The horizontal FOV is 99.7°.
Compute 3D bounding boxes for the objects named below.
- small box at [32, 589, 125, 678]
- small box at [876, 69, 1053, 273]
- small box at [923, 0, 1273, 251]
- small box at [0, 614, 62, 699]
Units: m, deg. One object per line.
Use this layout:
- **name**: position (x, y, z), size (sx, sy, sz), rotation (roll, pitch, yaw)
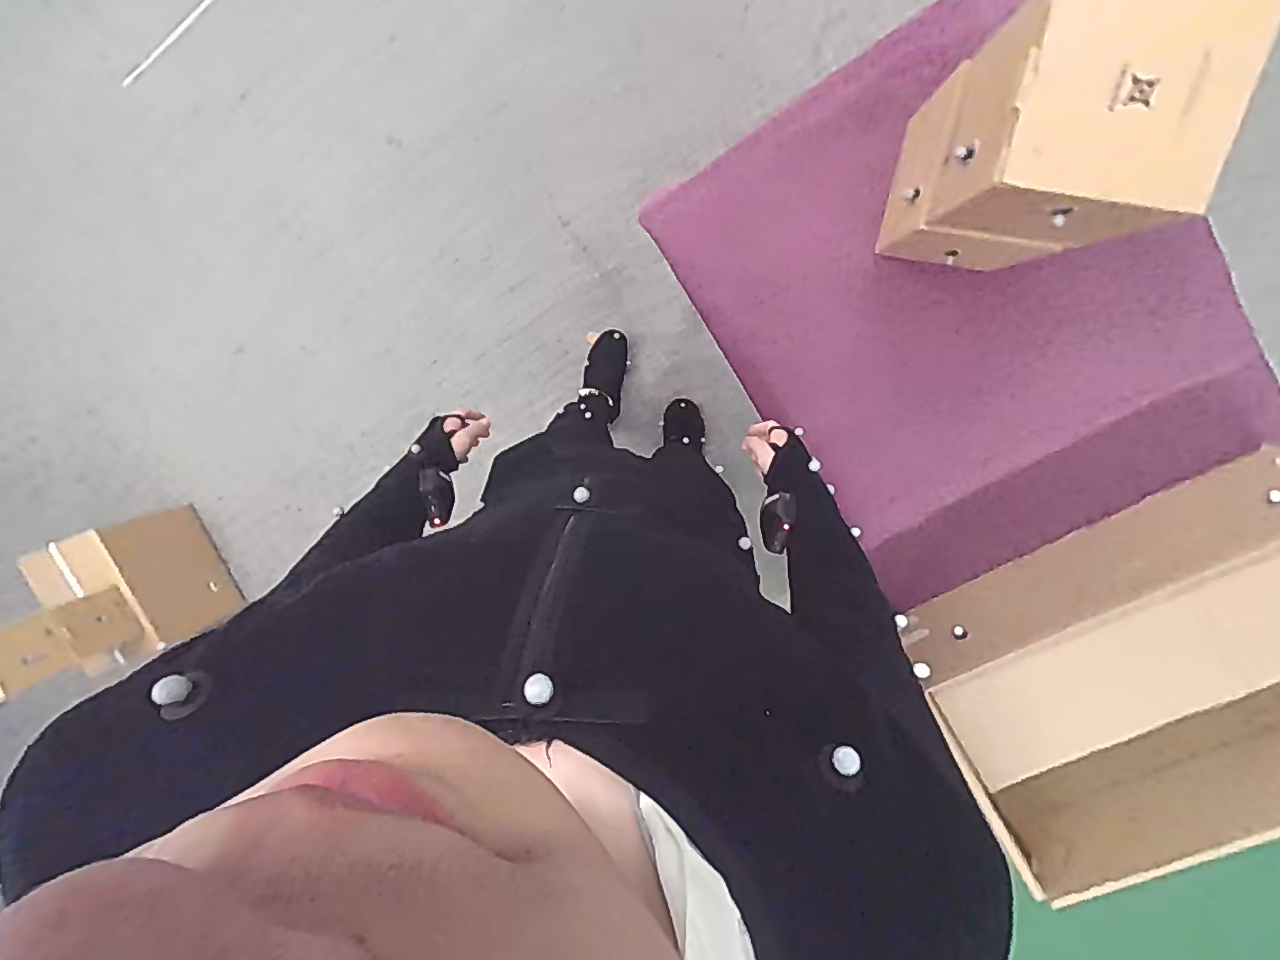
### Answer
- **small box**: position (-1.593, 0.427, 1.497), size (0.179, 0.176, 0.168), rotation (-23, 99, 9)
- **small box**: position (0.423, -0.374, 0.689), size (0.168, 0.176, 0.179), rotation (11, 104, 3)
- **small box**: position (0.413, -0.335, 0.531), size (0.179, 0.176, 0.168), rotation (11, 105, 3)
- **small box**: position (-1.608, 0.458, 1.338), size (0.179, 0.176, 0.168), rotation (-23, 100, 11)
